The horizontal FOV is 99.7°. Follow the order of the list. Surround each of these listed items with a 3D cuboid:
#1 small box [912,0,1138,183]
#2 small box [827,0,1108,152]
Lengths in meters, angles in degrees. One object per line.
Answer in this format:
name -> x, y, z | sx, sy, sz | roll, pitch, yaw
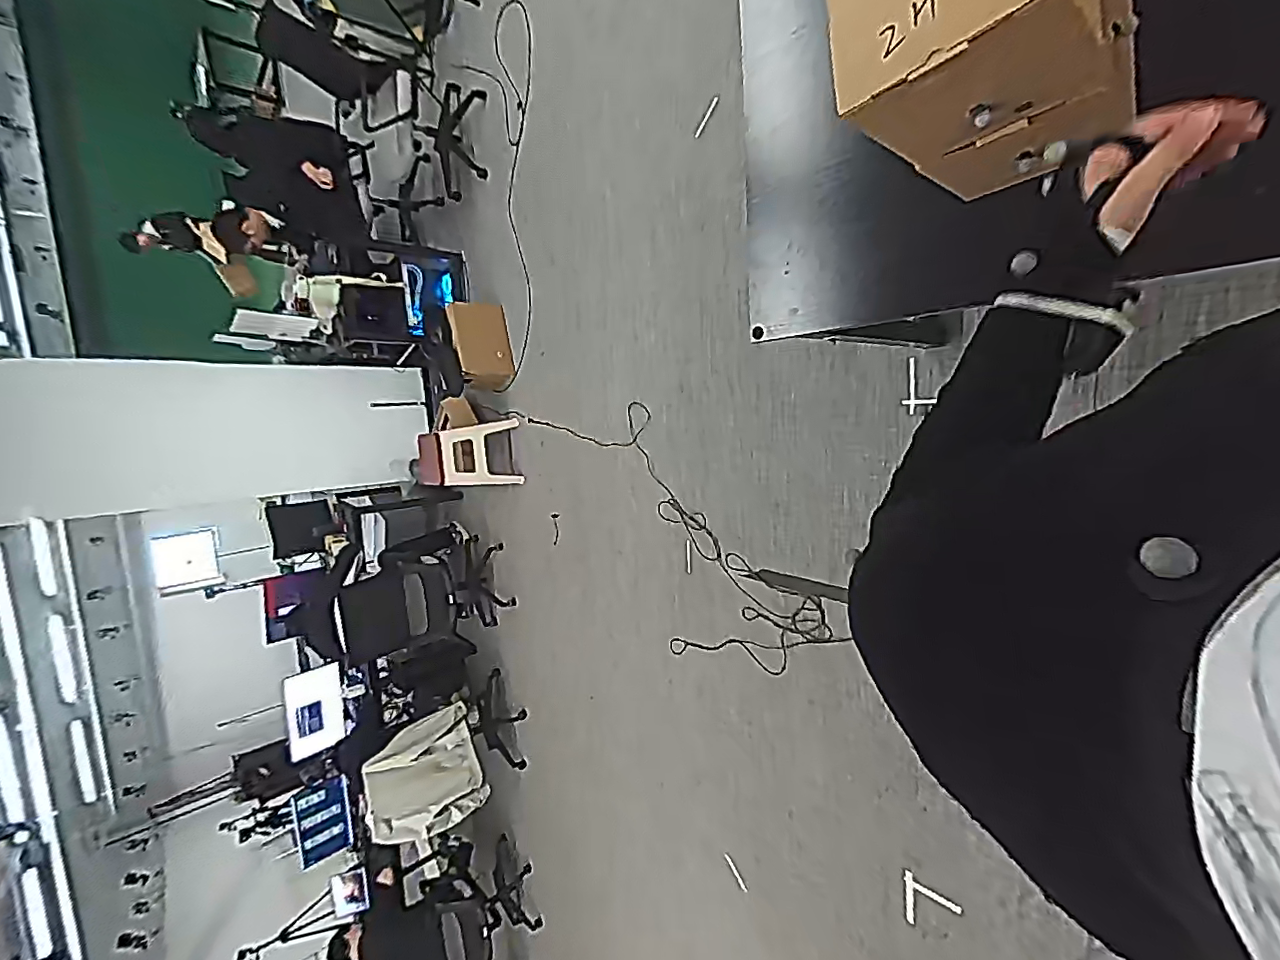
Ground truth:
small box -> 0.407, -0.443, 0.577 | 0.168, 0.176, 0.179 | -1, 96, 50
small box -> 0.281, -0.428, 0.470 | 0.168, 0.176, 0.179 | -3, 94, 50
